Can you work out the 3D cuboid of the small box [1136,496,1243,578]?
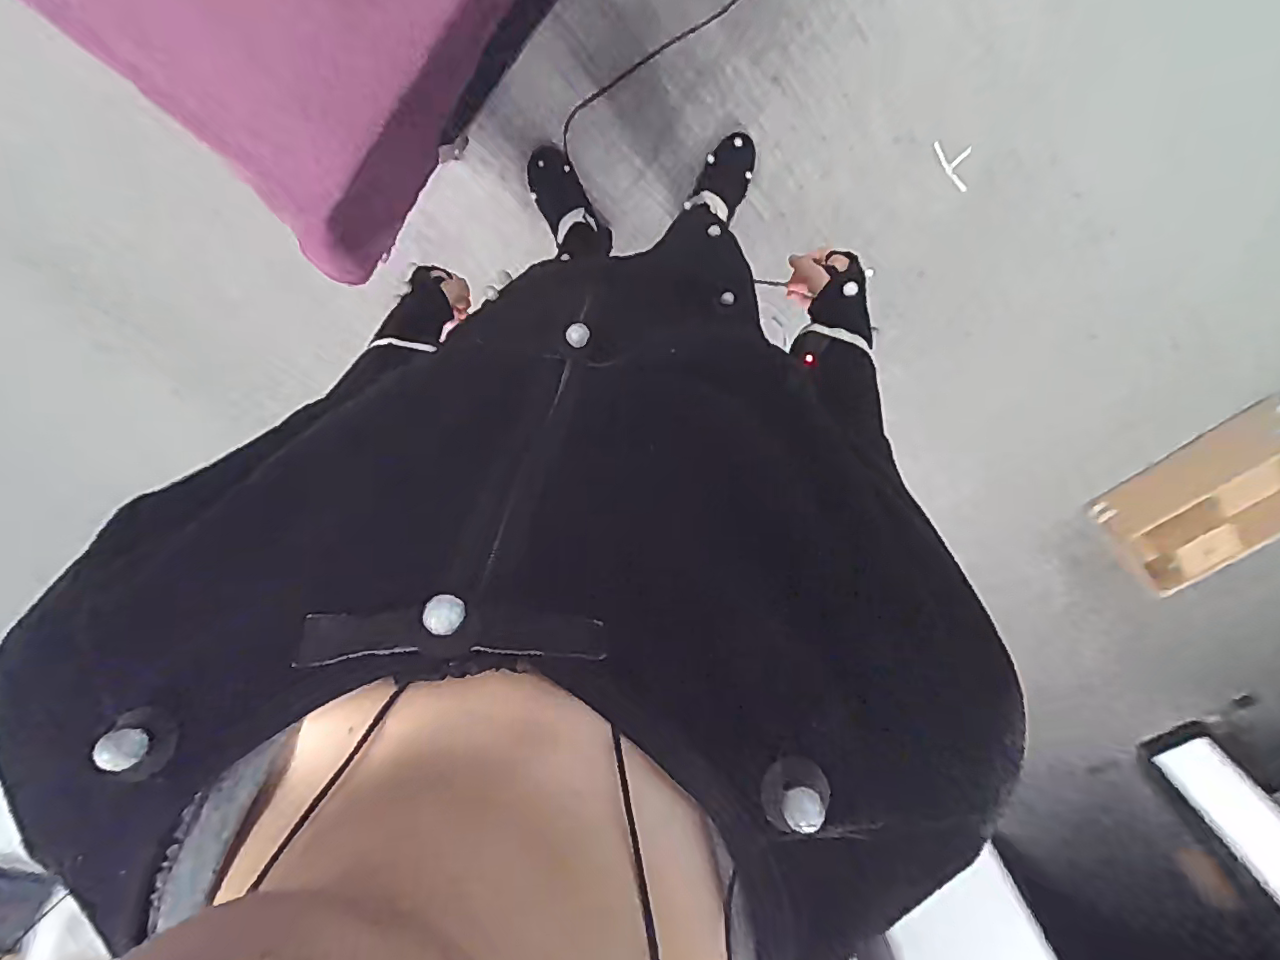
[{"bbox_3d":[1.825,0.186,1.801,0.168,0.176,0.179,-41,116,19],"label":"small box"}]
